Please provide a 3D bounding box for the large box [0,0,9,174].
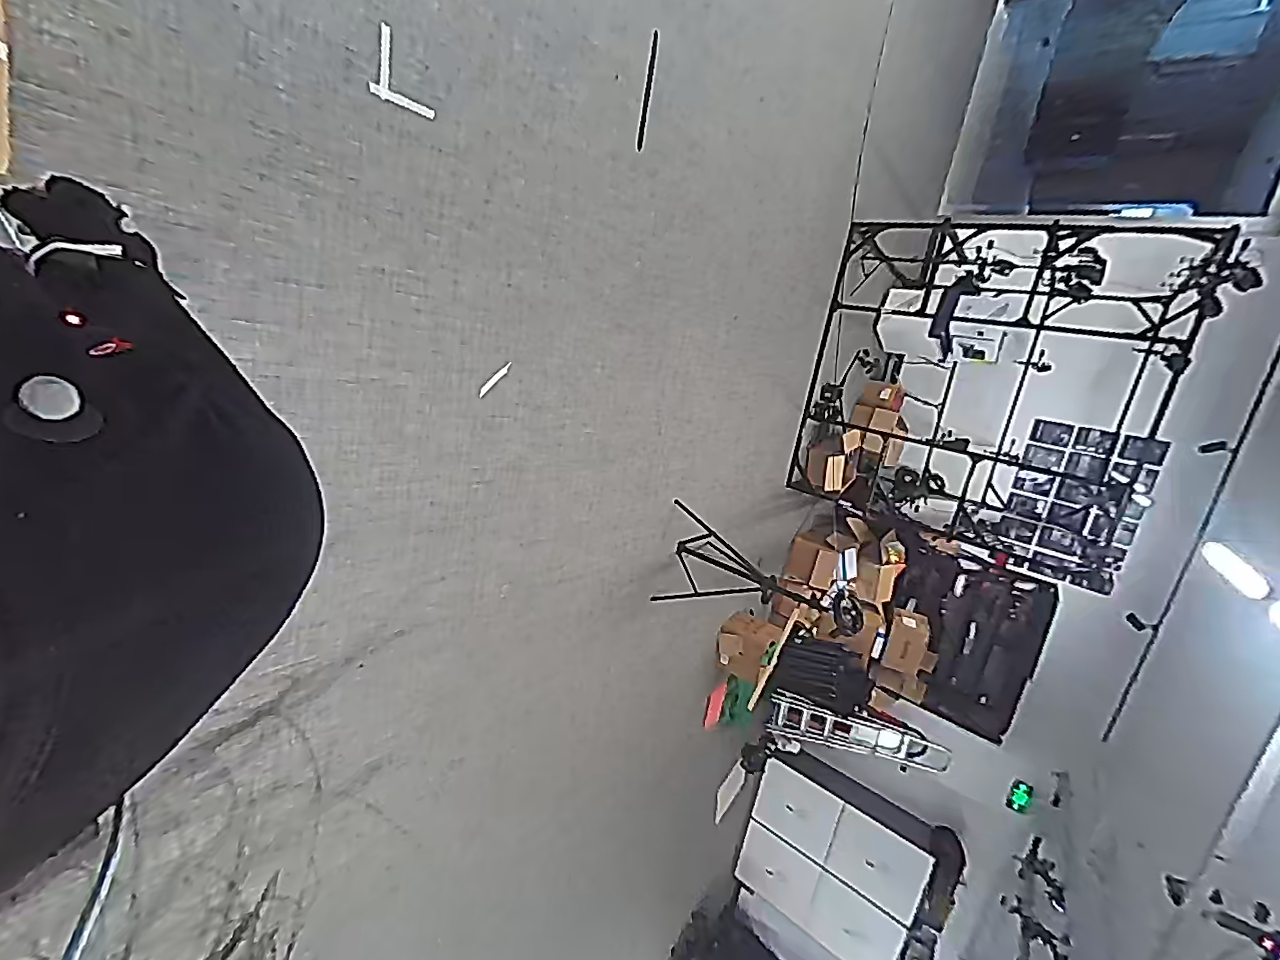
[{"bbox_3d":[-1.088,-0.598,0.645,0.408,0.320,0.320,-4,109,-55],"label":"large box"}]
